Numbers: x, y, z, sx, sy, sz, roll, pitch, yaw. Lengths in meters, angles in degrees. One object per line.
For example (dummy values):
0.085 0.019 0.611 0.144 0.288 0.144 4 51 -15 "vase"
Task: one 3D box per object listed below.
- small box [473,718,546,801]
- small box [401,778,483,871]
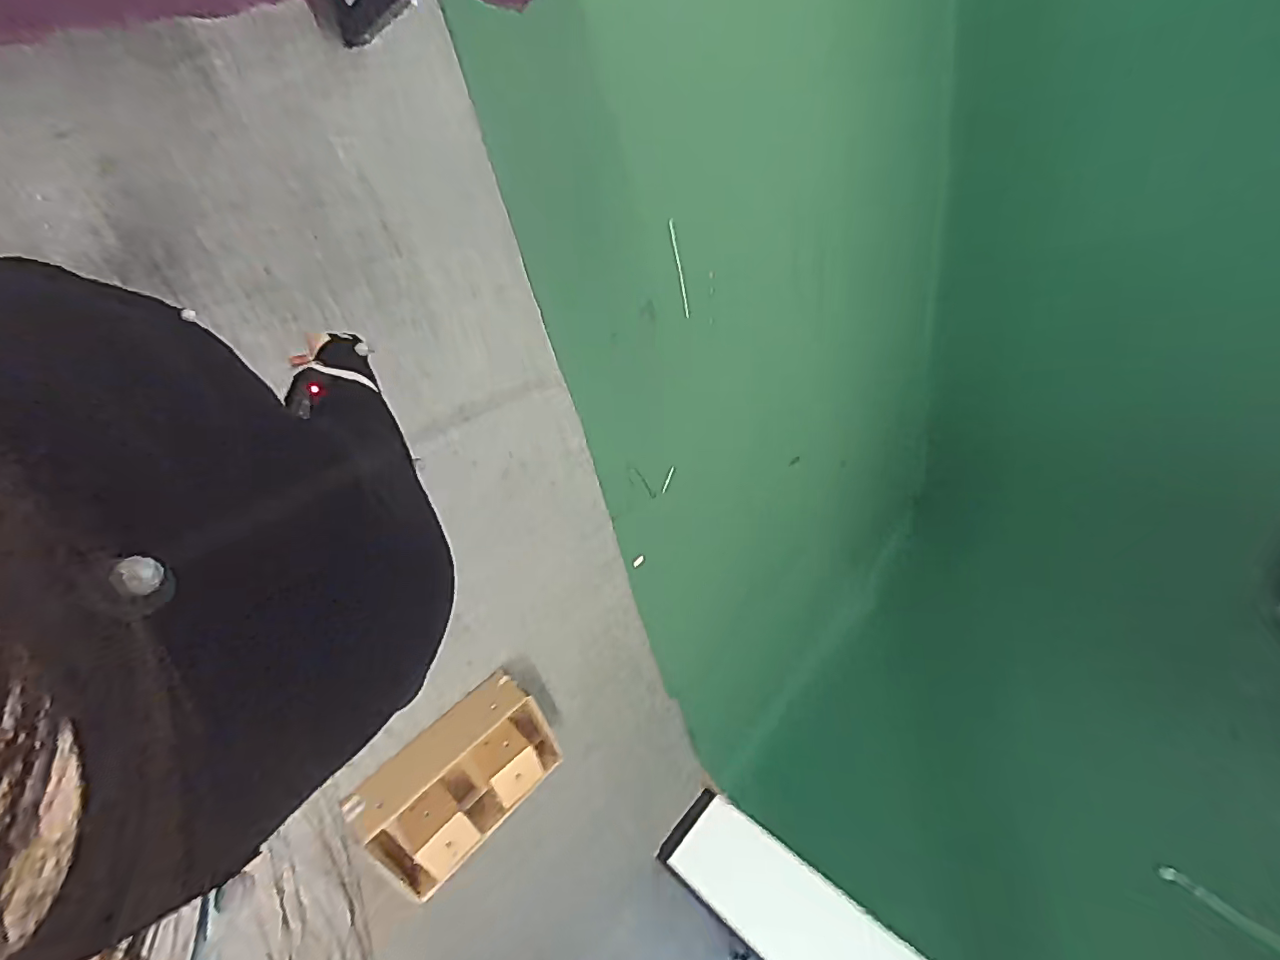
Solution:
-0.467 0.982 1.922 0.168 0.176 0.179 -33 126 -32 "small box"
-0.656 1.125 1.783 0.168 0.176 0.179 -37 127 -30 "small box"
